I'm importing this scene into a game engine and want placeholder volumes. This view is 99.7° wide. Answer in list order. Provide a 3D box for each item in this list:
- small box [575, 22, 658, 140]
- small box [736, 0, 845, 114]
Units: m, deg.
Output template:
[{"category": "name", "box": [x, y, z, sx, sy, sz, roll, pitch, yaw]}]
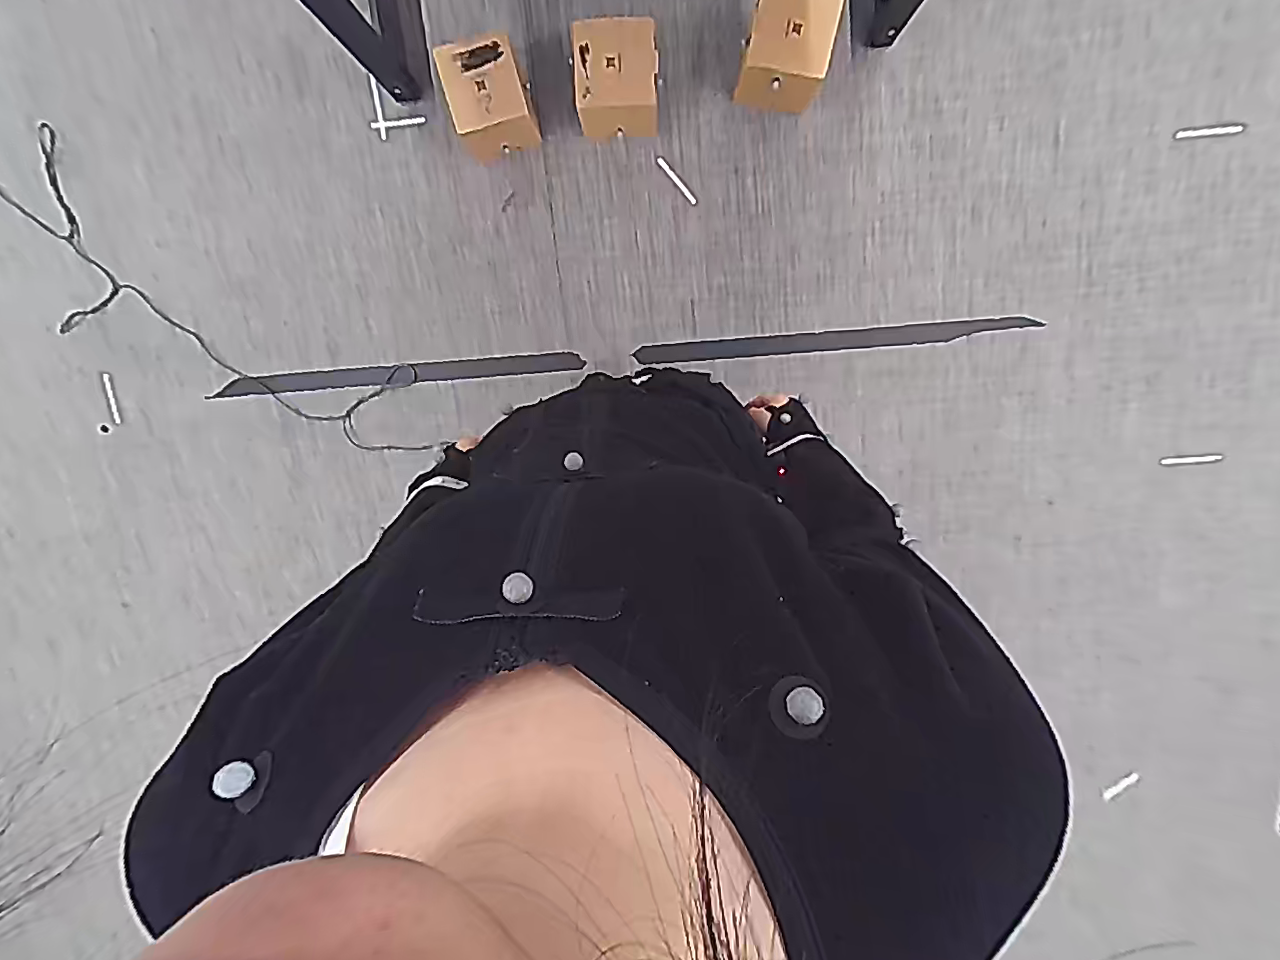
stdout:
[{"category": "small box", "box": [-0.049, -0.897, 1.228, 0.179, 0.176, 0.168, -1, 102, 1]}, {"category": "small box", "box": [0.326, -0.954, 1.208, 0.179, 0.176, 0.168, 12, 102, 0]}]
